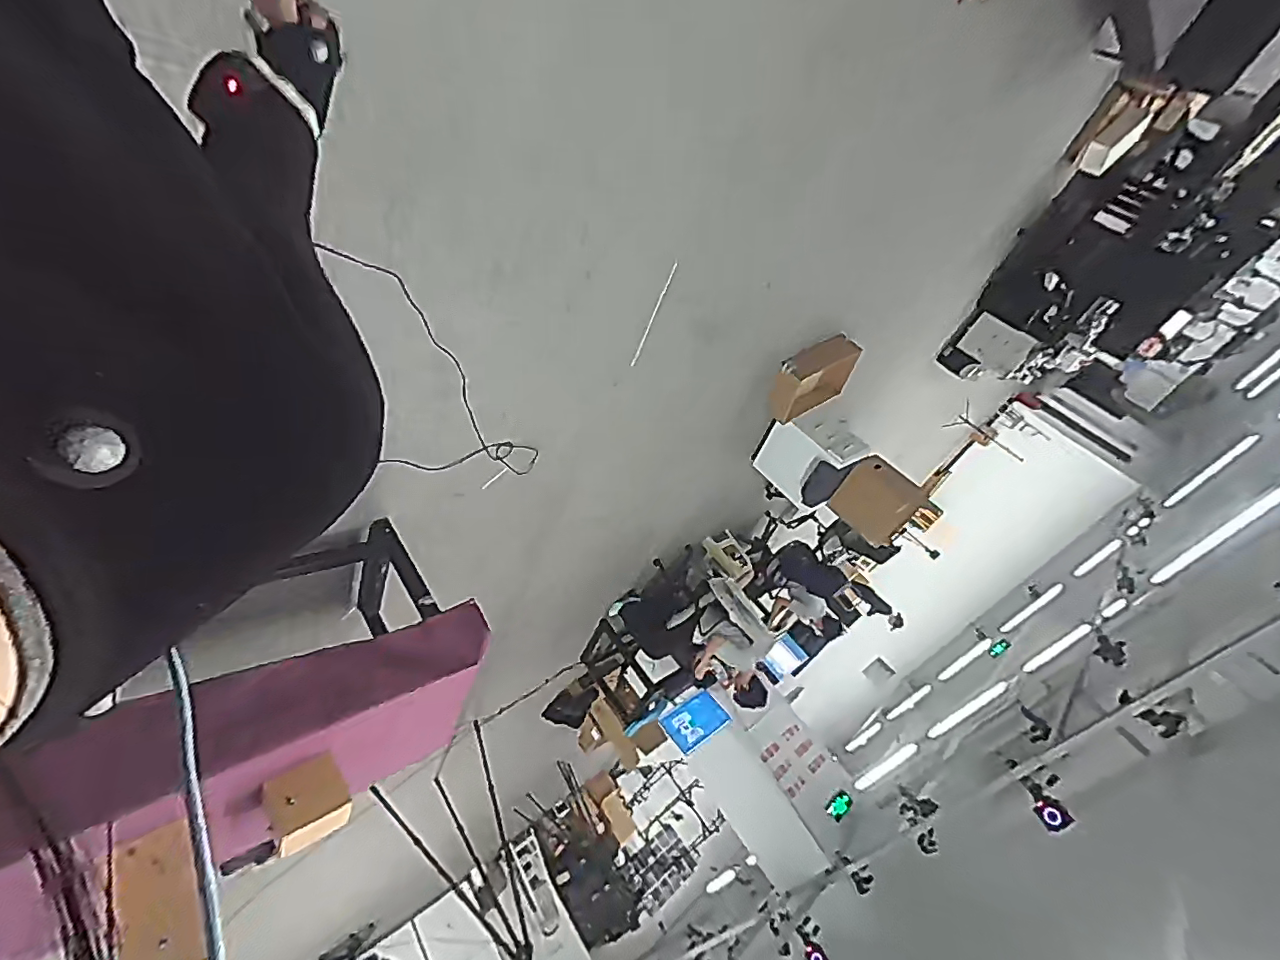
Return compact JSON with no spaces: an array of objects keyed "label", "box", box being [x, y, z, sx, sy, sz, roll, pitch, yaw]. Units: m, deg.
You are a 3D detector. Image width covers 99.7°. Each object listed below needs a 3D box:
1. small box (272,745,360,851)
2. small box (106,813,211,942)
[{"label":"small box","box":[-0.933,0.903,1.548,0.179,0.176,0.168,-13,142,-45]},{"label":"small box","box":[-1.163,0.951,1.310,0.168,0.176,0.179,-11,141,-46]}]
